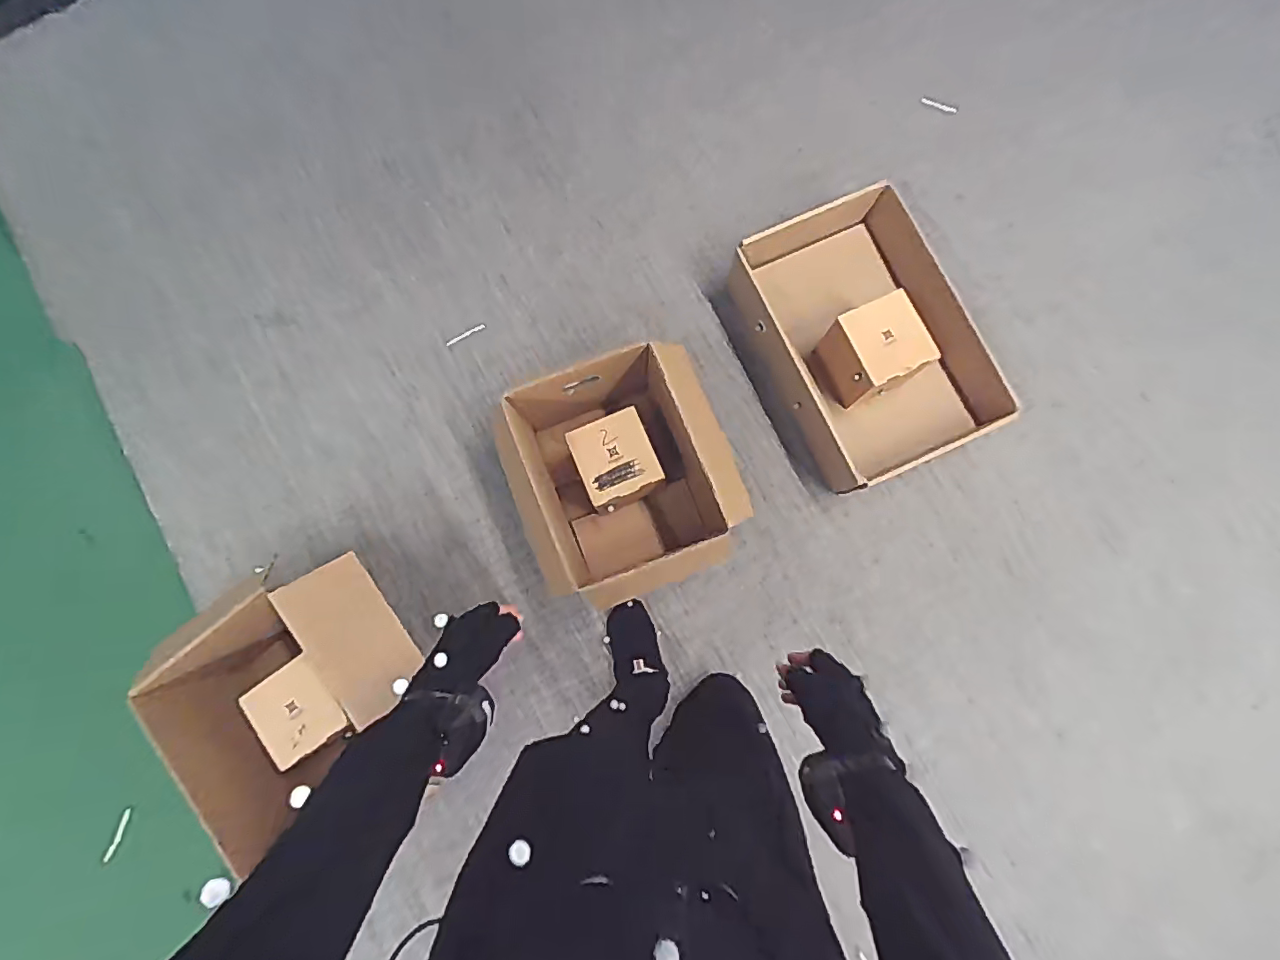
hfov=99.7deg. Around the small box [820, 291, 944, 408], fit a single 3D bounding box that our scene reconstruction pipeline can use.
[{"bbox_3d":[0.539,-0.289,1.234,0.168,0.176,0.179,-25,82,-3],"label":"small box"}]
